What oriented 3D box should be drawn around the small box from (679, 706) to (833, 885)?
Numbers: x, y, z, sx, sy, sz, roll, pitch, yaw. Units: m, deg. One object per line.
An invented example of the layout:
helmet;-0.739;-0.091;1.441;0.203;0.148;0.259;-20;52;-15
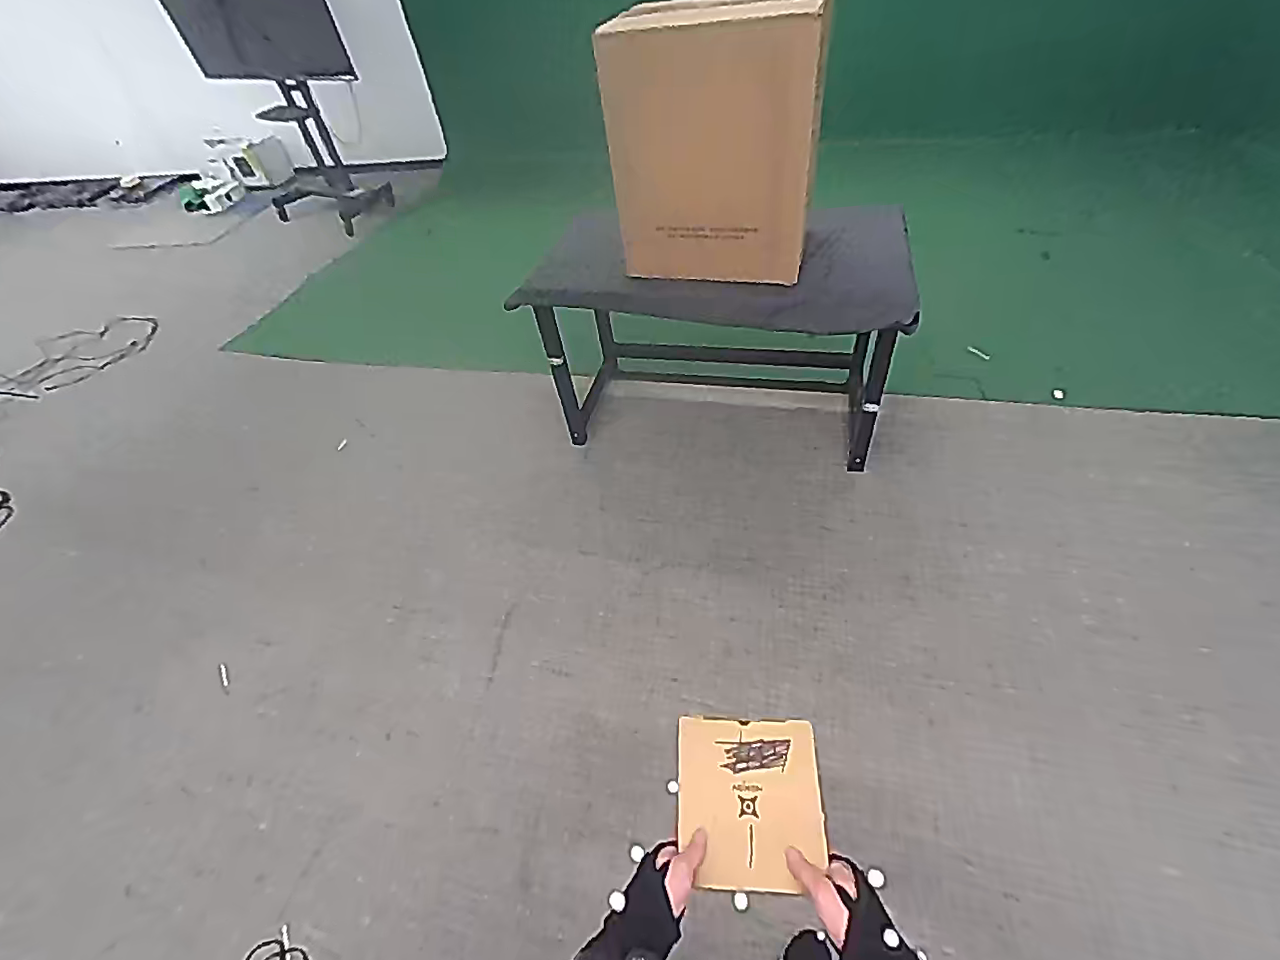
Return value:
small box;0.134;0.405;0.694;0.168;0.176;0.179;0;54;5
